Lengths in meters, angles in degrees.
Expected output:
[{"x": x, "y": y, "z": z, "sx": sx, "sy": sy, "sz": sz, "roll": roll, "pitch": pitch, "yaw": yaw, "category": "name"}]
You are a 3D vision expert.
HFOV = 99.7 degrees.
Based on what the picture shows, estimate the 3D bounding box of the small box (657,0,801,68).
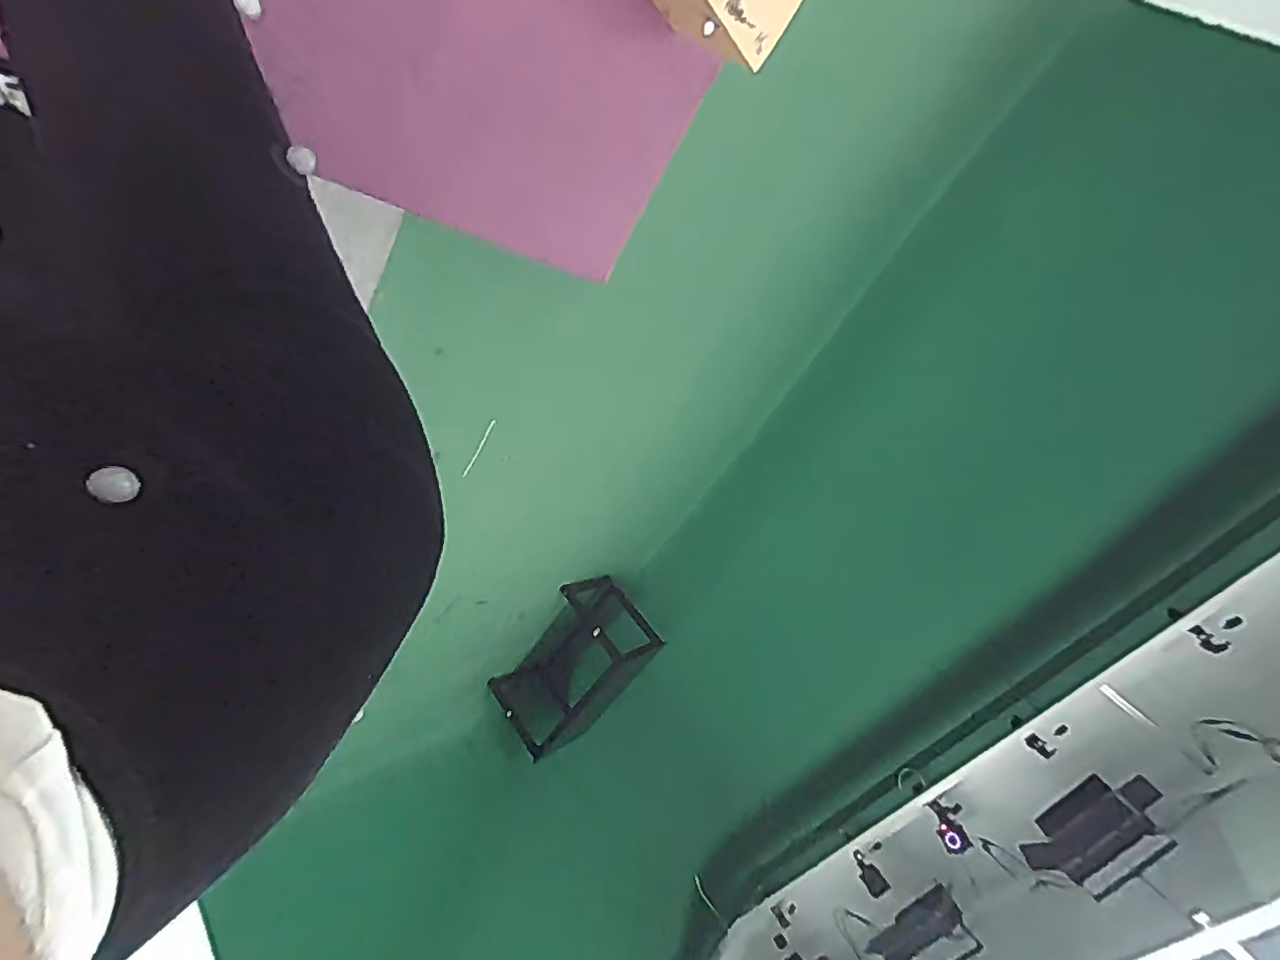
[{"x": 0.114, "y": -0.684, "z": 0.679, "sx": 0.168, "sy": 0.176, "sz": 0.179, "roll": -1, "pitch": 132, "yaw": -55, "category": "small box"}]

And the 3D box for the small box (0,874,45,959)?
[{"x": -1.646, "y": 1.149, "z": 1.362, "sx": 0.179, "sy": 0.176, "sz": 0.168, "roll": -54, "pitch": 155, "yaw": 22, "category": "small box"}]
